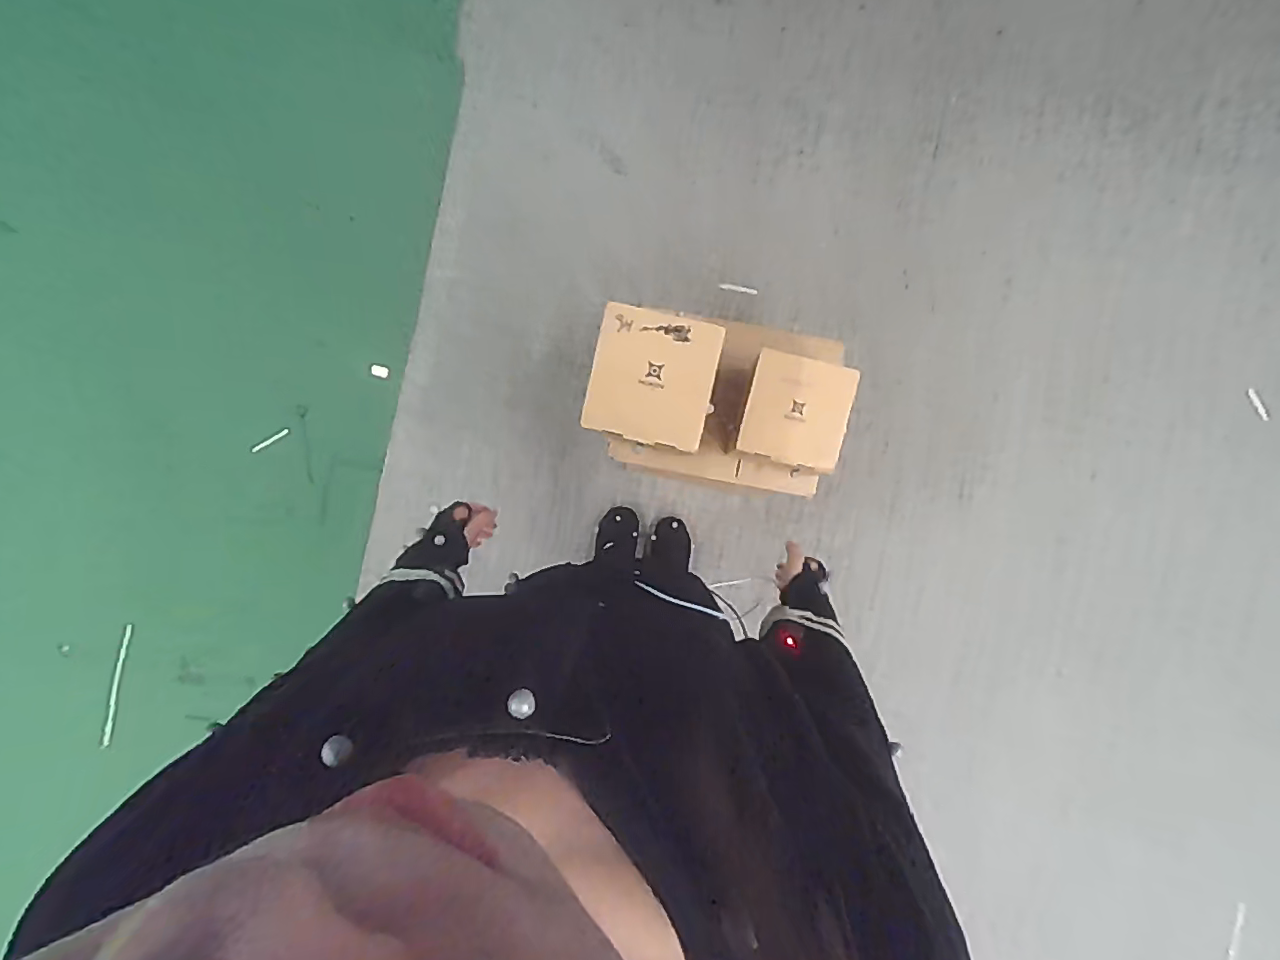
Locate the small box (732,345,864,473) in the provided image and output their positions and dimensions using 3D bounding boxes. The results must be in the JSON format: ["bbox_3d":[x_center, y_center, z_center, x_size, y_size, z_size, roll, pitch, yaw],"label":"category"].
[{"bbox_3d":[0.266,-0.114,0.953,0.168,0.176,0.179,16,90,4],"label":"small box"}]

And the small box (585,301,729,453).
[{"bbox_3d":[0.026,-0.141,0.802,0.168,0.176,0.179,13,93,2],"label":"small box"}]
